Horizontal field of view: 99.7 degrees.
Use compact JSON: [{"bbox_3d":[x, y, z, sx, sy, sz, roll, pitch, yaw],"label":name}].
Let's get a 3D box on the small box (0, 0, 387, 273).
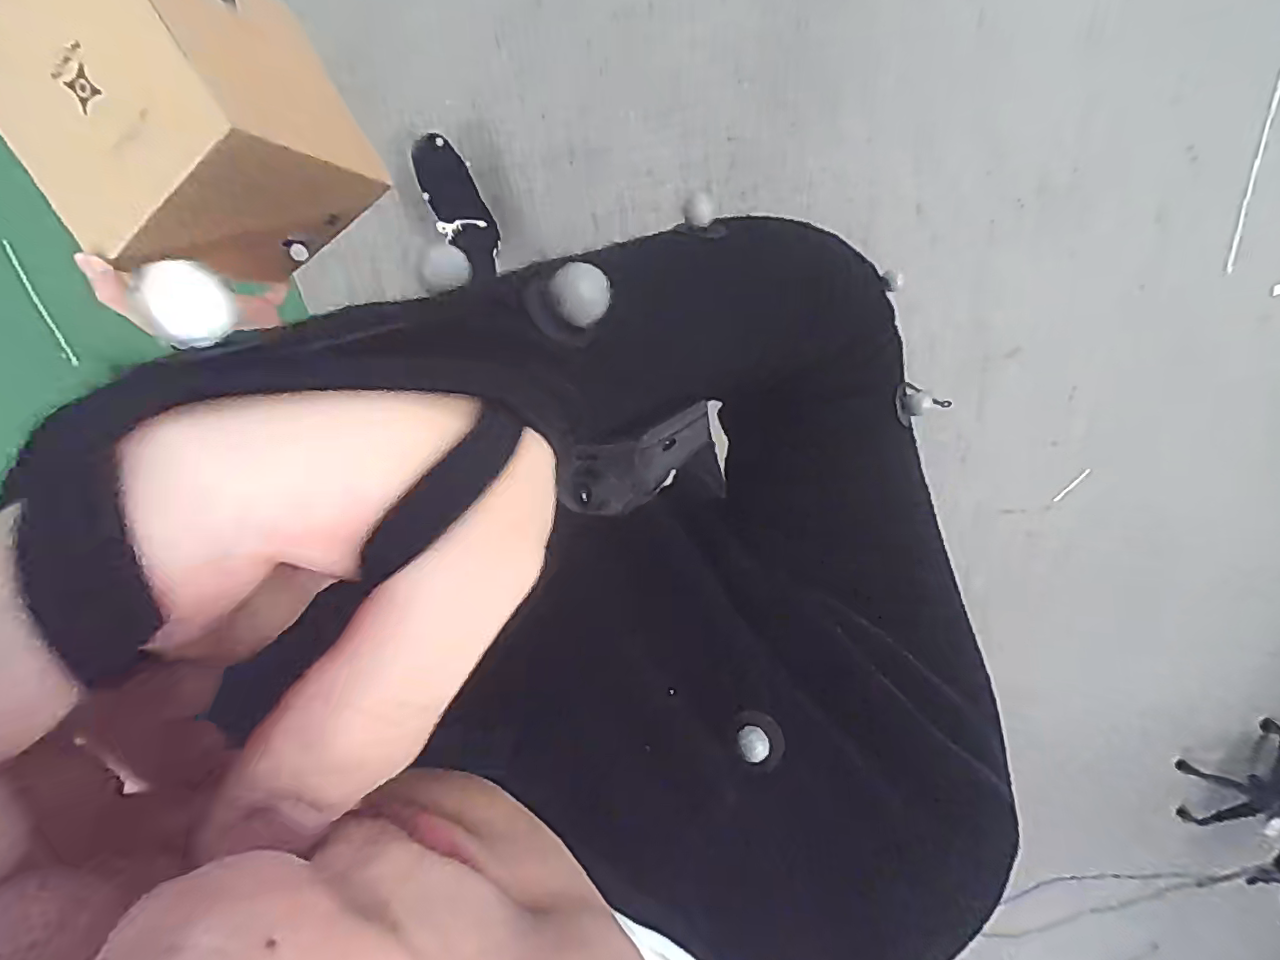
[{"bbox_3d":[-0.353,-0.289,0.435,0.168,0.176,0.179,-27,99,18],"label":"small box"}]
